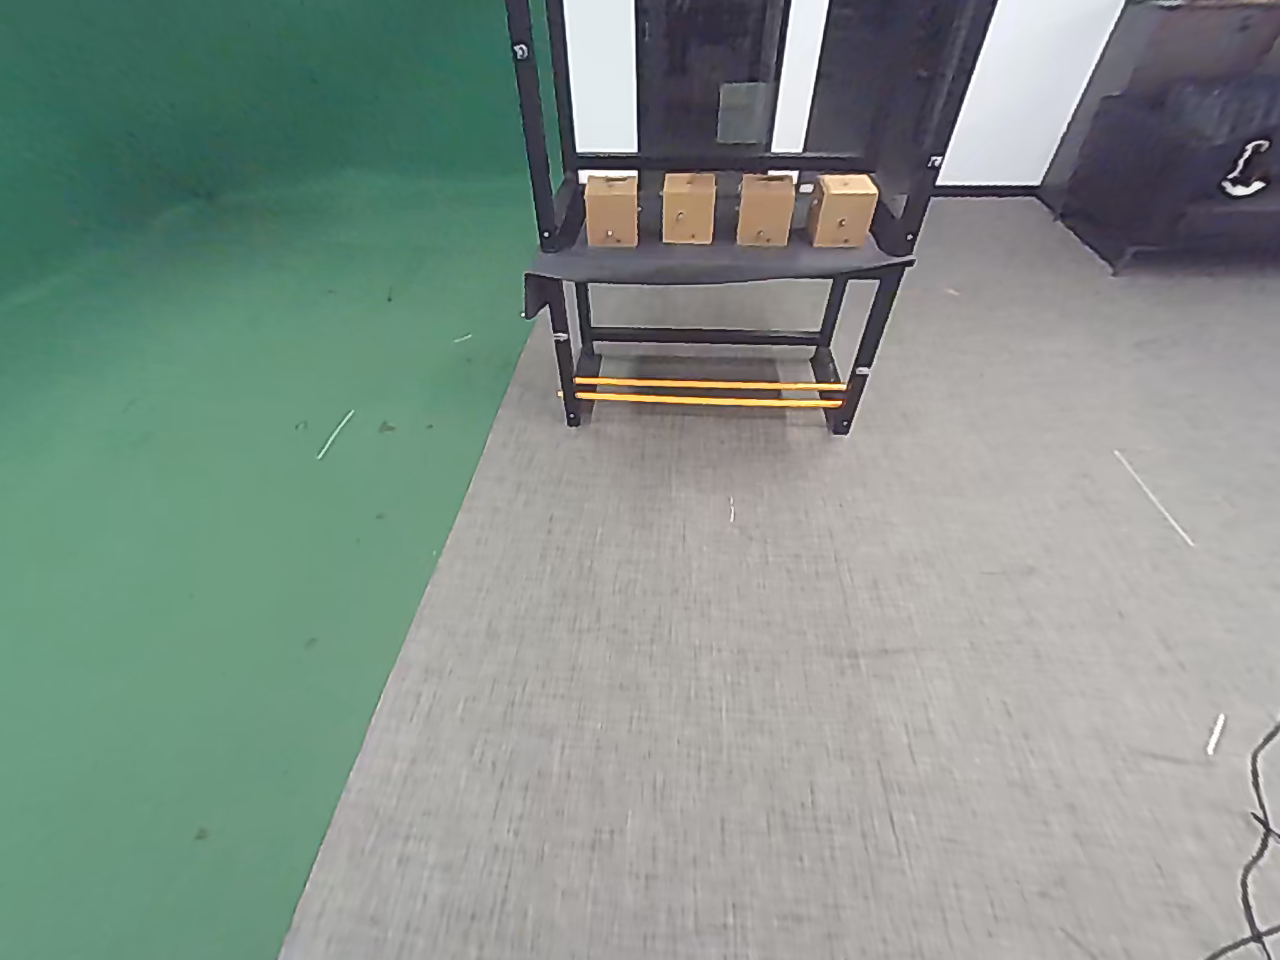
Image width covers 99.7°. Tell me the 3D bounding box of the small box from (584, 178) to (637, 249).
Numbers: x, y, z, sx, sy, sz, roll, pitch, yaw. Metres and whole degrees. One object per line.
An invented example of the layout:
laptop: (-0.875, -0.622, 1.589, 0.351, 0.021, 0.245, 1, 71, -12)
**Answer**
small box: (-0.094, -0.891, 1.806, 0.168, 0.176, 0.179, -1, 47, 1)

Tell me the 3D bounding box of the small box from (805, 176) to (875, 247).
small box: (0.650, -0.881, 1.776, 0.168, 0.176, 0.179, 2, 45, 3)

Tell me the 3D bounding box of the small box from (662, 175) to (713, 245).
small box: (0.159, -0.907, 1.819, 0.168, 0.176, 0.179, 3, 46, 3)
